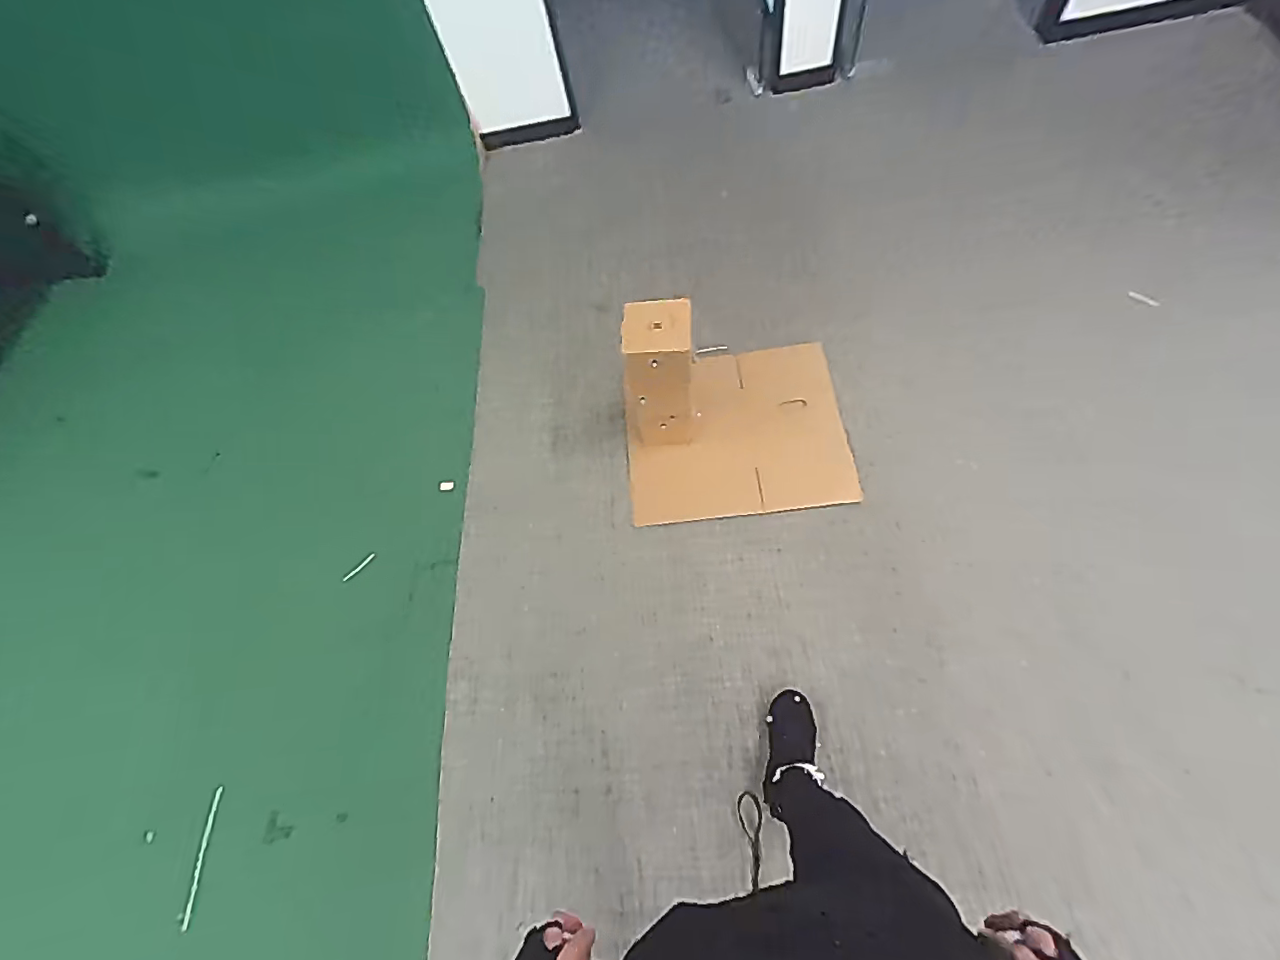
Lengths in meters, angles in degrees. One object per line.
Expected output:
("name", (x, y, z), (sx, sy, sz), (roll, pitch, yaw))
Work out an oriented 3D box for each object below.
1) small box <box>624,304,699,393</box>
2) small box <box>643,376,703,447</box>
("small box", (0.063, -0.344, 1.439), (0.179, 0.176, 0.168), (-1, 65, 9))
("small box", (0.109, -0.217, 1.737), (0.179, 0.176, 0.168), (-3, 64, 8))
